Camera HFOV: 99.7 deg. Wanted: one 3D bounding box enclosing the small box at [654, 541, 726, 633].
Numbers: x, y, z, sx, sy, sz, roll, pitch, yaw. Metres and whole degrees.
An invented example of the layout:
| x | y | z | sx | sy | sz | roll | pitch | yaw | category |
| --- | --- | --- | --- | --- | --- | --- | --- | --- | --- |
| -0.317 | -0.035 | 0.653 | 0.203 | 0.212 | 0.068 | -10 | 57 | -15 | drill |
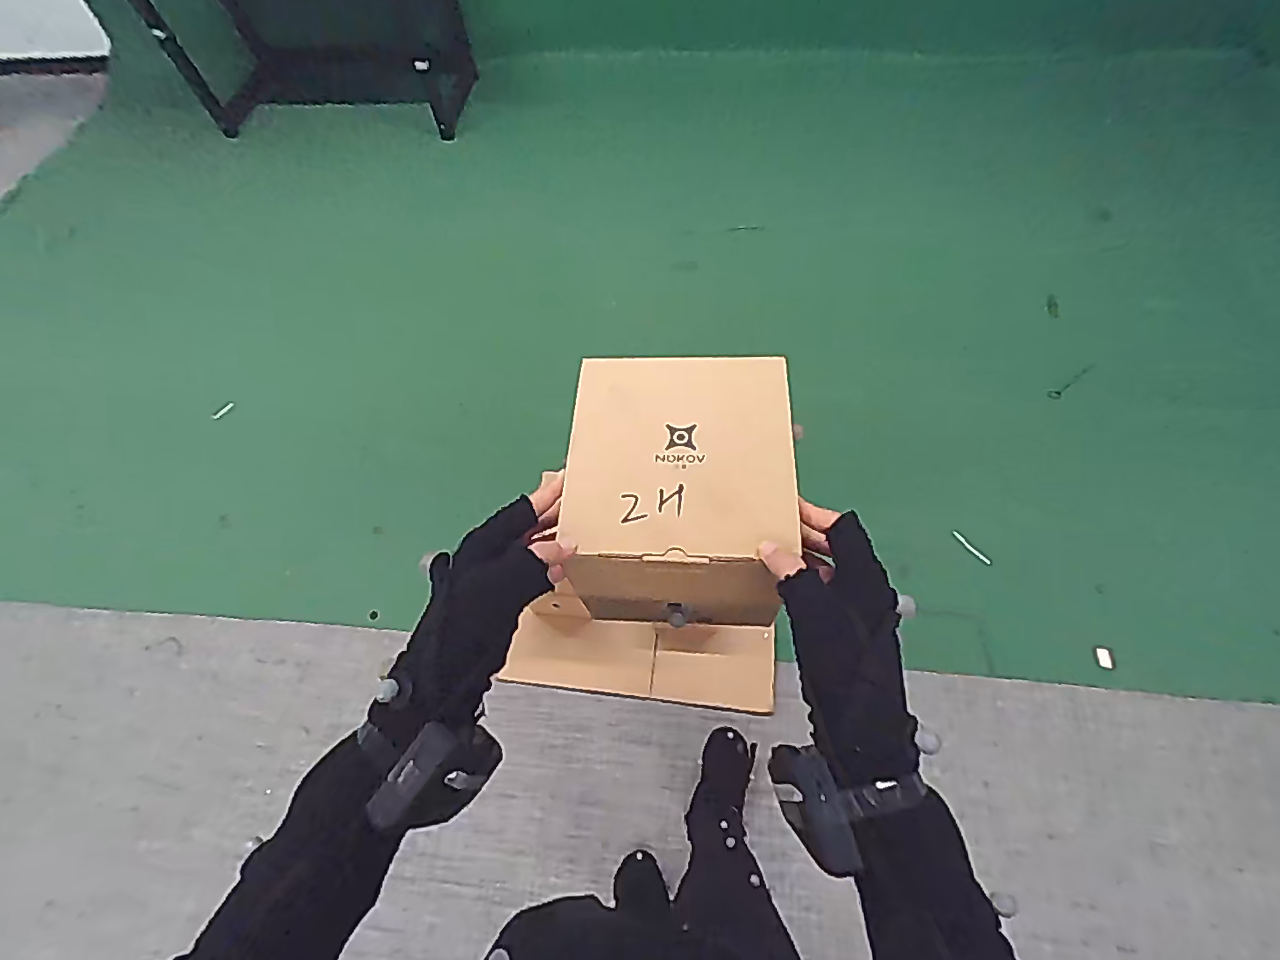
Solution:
| x | y | z | sx | sy | sz | roll | pitch | yaw | category |
| --- | --- | --- | --- | --- | --- | --- | --- | --- | --- |
| 0.124 | 0.272 | 1.363 | 0.168 | 0.176 | 0.179 | 3 | 61 | 6 | small box |

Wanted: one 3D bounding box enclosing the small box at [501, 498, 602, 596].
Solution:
| x | y | z | sx | sy | sz | roll | pitch | yaw | category |
| --- | --- | --- | --- | --- | --- | --- | --- | --- | --- |
| -0.194 | 0.161 | 1.255 | 0.179 | 0.176 | 0.168 | 6 | 61 | 10 | small box |
